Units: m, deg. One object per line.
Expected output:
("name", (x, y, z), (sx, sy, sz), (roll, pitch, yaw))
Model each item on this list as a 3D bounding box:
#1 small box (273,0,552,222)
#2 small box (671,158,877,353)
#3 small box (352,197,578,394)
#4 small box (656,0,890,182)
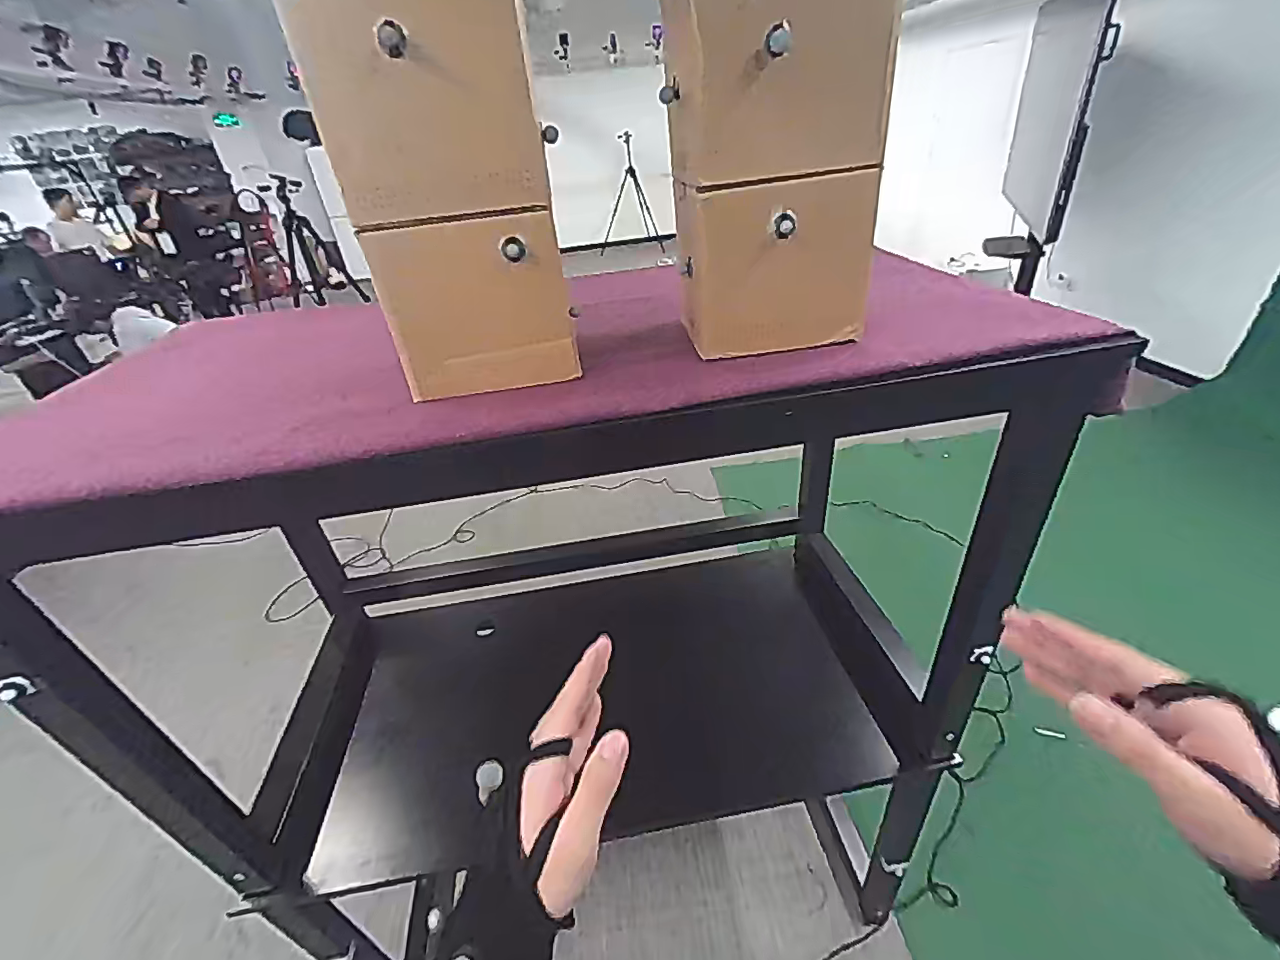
("small box", (-0.185, -0.342, 0.497), (0.179, 0.176, 0.168), (-8, 33, -4))
("small box", (0.135, -0.249, 0.596), (0.179, 0.176, 0.168), (-7, 33, 0))
("small box", (-0.169, -0.203, 0.584), (0.179, 0.176, 0.168), (-9, 33, -4))
("small box", (0.118, -0.385, 0.508), (0.179, 0.176, 0.168), (-9, 34, 0))
